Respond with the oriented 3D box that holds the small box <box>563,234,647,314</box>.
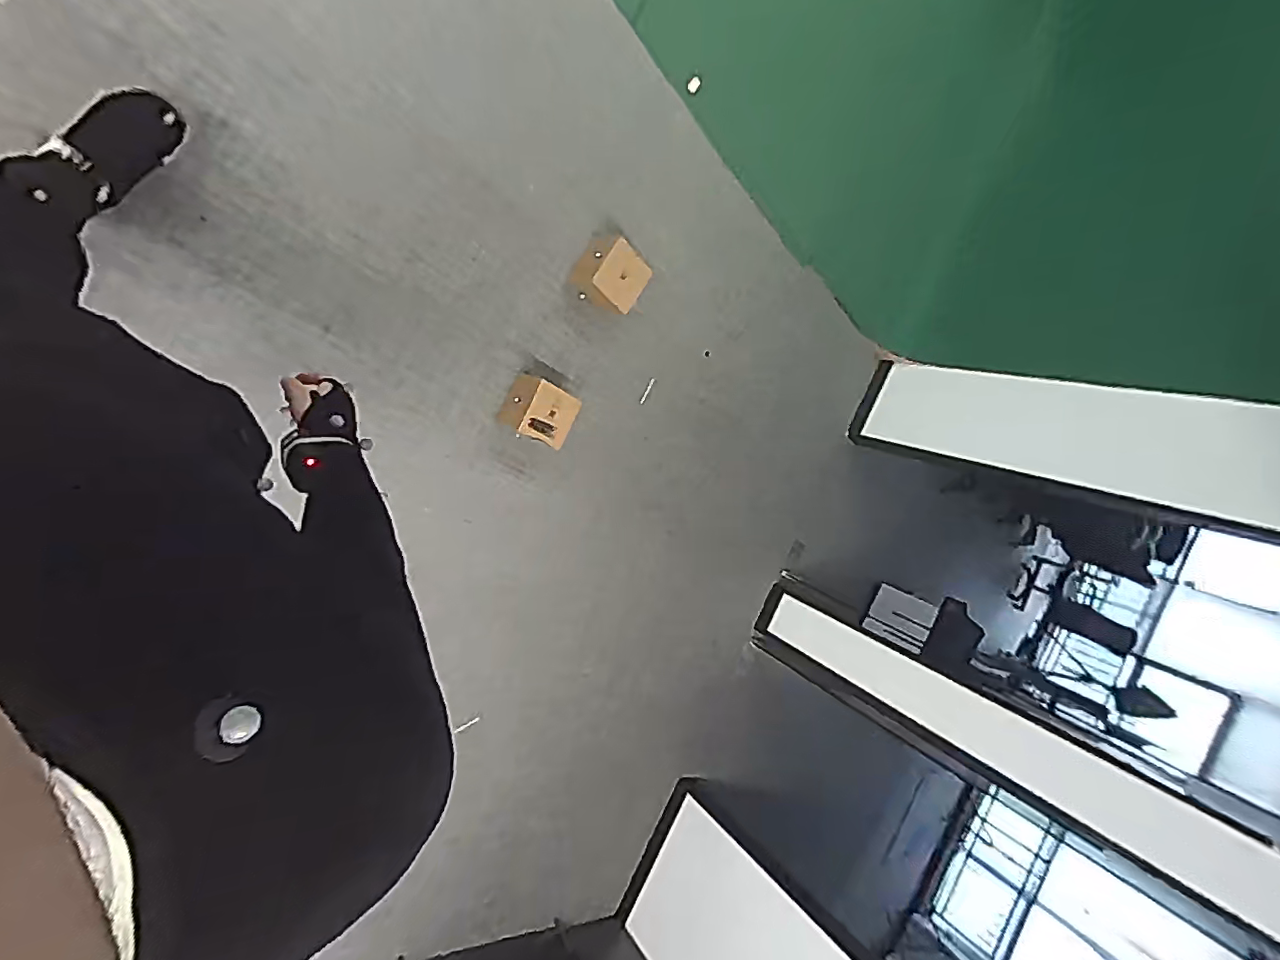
[{"bbox_3d":[-0.117,-0.660,1.737,0.168,0.176,0.179,37,81,-42],"label":"small box"}]
